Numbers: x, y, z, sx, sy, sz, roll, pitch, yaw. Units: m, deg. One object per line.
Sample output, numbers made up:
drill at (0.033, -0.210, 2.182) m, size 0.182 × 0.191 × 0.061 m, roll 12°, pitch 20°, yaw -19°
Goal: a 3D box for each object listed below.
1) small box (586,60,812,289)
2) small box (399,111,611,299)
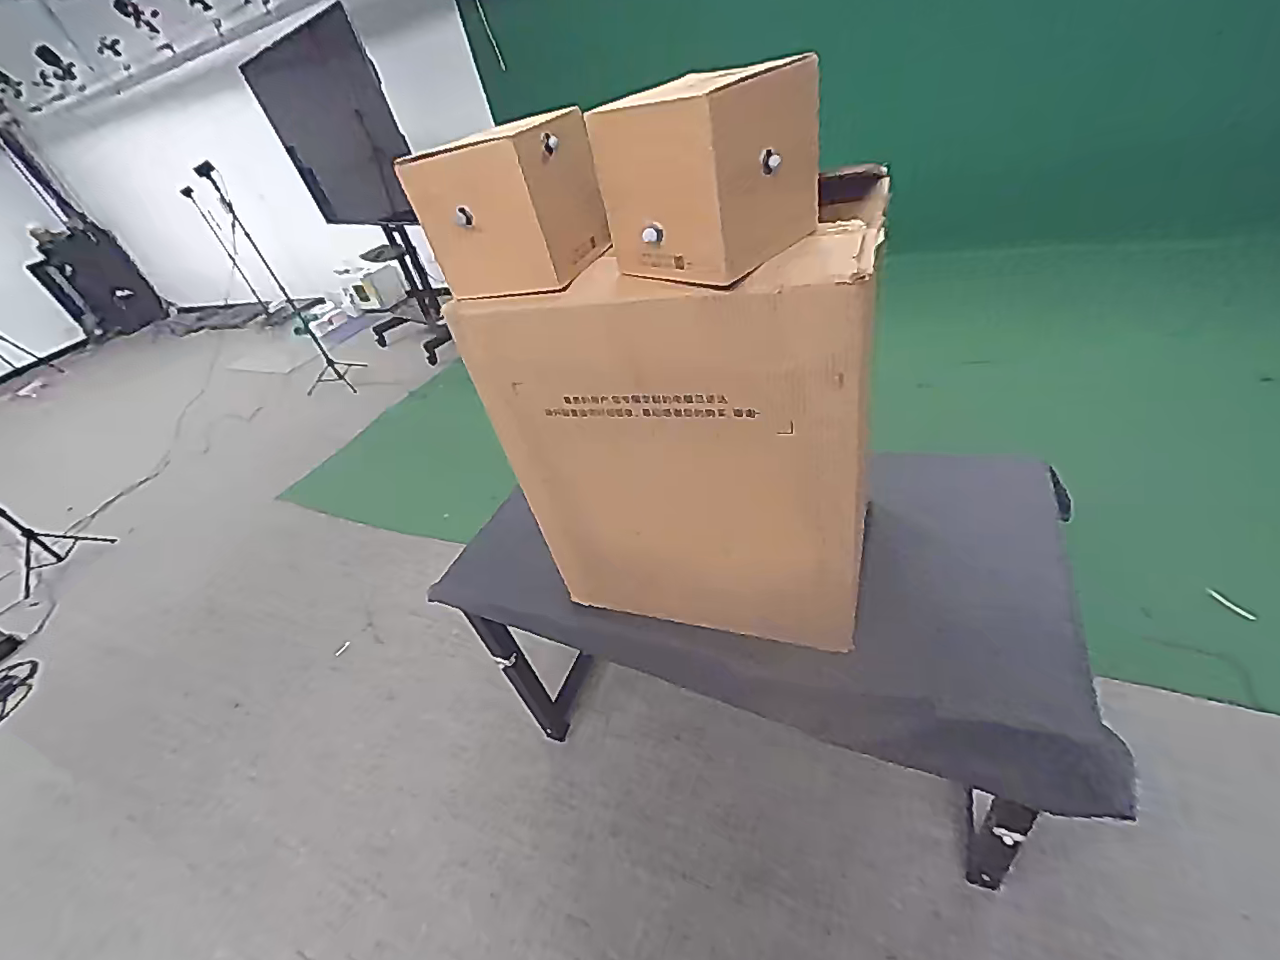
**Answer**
small box at (0.072, -0.333, 0.598) m, size 0.168 × 0.176 × 0.179 m, roll 25°, pitch 54°, yaw 40°
small box at (-0.163, -0.350, 0.707) m, size 0.179 × 0.176 × 0.168 m, roll 3°, pitch 42°, yaw 26°
